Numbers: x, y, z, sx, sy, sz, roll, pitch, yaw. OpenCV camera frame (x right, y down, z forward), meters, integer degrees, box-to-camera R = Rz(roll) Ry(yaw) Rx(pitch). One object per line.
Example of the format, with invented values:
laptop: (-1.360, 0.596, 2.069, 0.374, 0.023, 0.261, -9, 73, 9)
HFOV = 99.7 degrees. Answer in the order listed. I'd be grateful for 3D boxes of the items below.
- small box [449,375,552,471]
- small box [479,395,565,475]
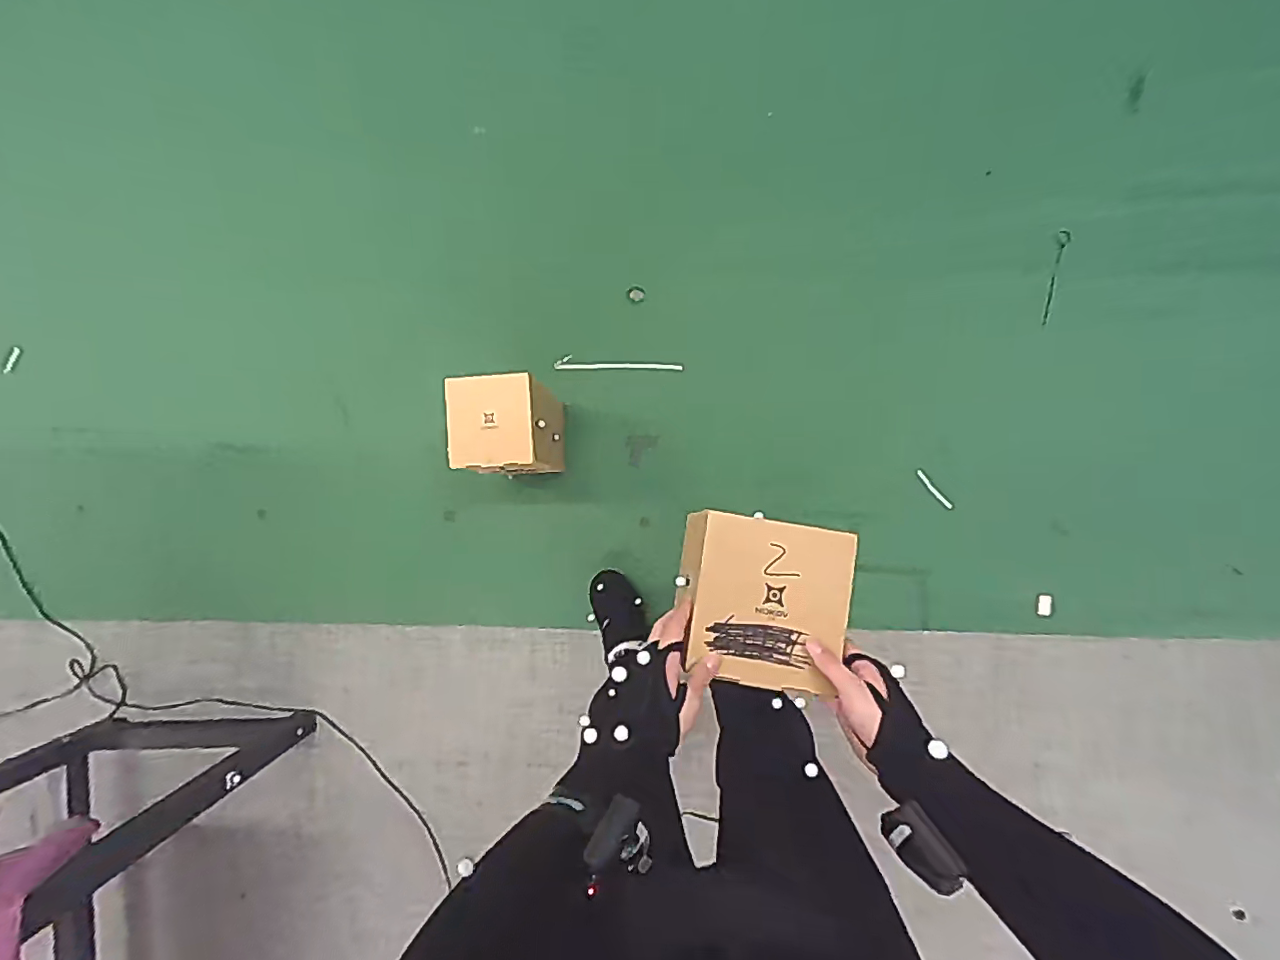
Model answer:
small box: (-0.280, -0.110, 1.111, 0.168, 0.176, 0.179, -3, 90, 3)
small box: (-0.273, -0.102, 1.273, 0.168, 0.176, 0.179, -2, 89, 3)
